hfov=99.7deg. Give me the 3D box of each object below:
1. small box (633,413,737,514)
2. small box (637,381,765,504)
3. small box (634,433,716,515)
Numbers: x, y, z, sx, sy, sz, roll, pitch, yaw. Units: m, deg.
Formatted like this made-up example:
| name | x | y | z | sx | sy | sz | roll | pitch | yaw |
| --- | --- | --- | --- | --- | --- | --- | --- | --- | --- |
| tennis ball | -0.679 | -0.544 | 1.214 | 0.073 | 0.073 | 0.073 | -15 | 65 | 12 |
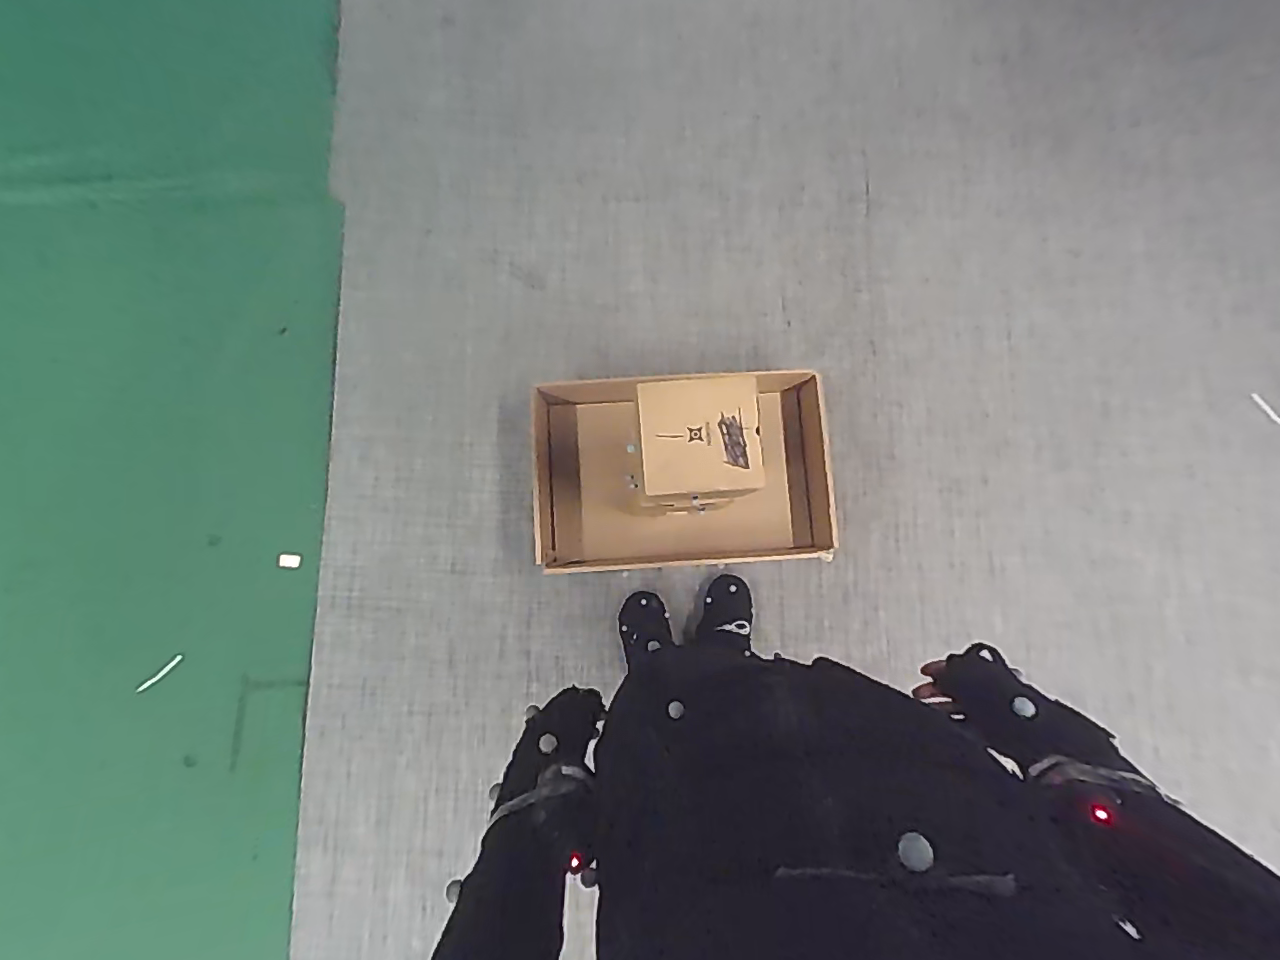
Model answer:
| name | x | y | z | sx | sy | sz | roll | pitch | yaw |
| --- | --- | --- | --- | --- | --- | --- | --- | --- | --- |
| small box | 0.078 | -0.030 | 1.007 | 0.168 | 0.176 | 0.179 | -6 | 84 | -1 |
| small box | 0.087 | -0.052 | 0.861 | 0.179 | 0.176 | 0.168 | -4 | 84 | -1 |
| small box | 0.074 | -0.014 | 1.185 | 0.168 | 0.176 | 0.179 | -3 | 84 | -1 |
